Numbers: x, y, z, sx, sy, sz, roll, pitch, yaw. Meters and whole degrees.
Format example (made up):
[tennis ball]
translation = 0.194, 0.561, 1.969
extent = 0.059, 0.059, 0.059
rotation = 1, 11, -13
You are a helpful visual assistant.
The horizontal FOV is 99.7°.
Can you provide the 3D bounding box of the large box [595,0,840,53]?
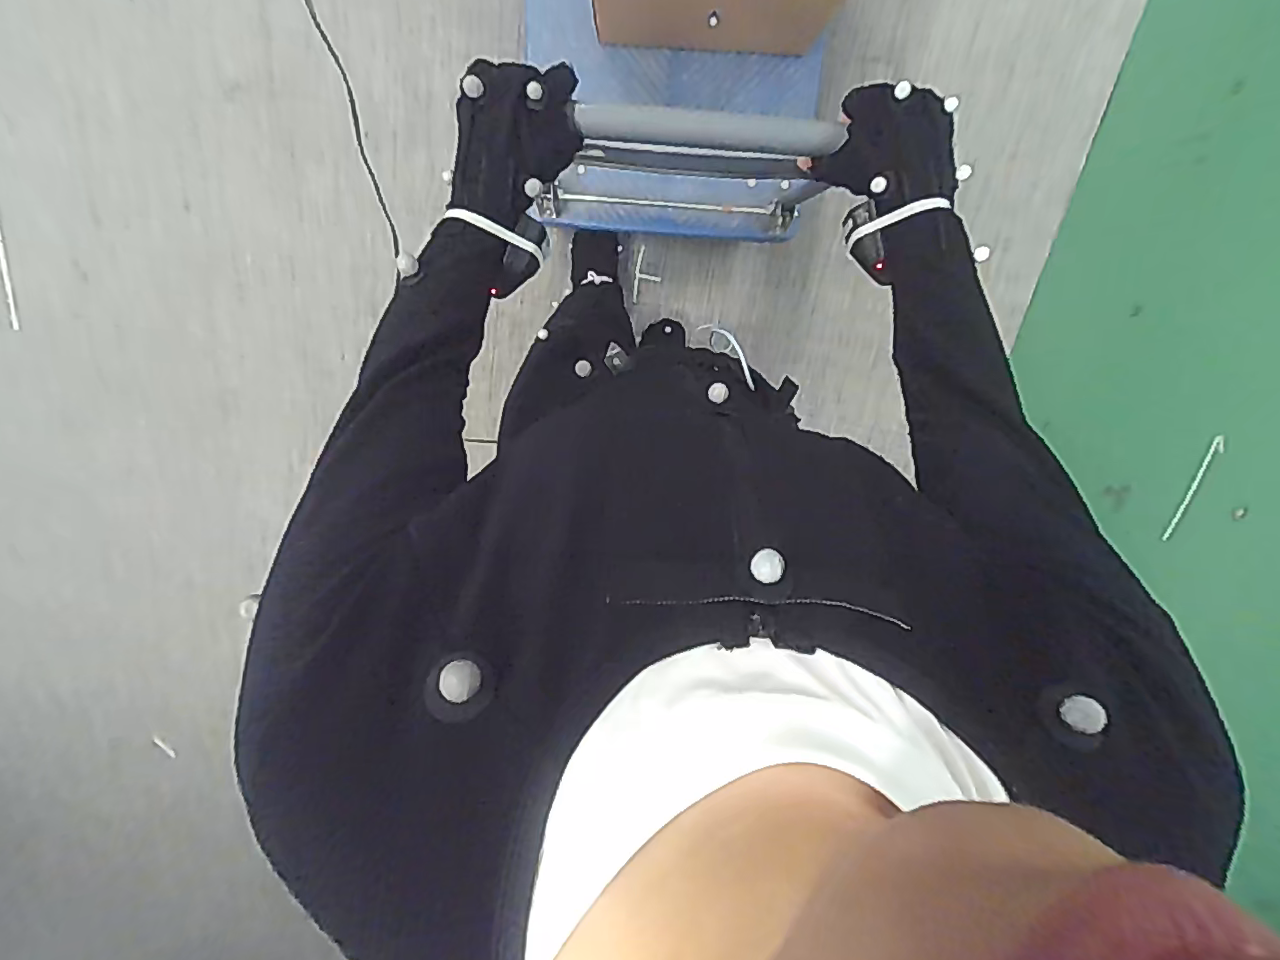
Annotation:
[large box]
translation = 0.130, -0.932, 0.867
extent = 0.408, 0.320, 0.320
rotation = 2, 107, 0
